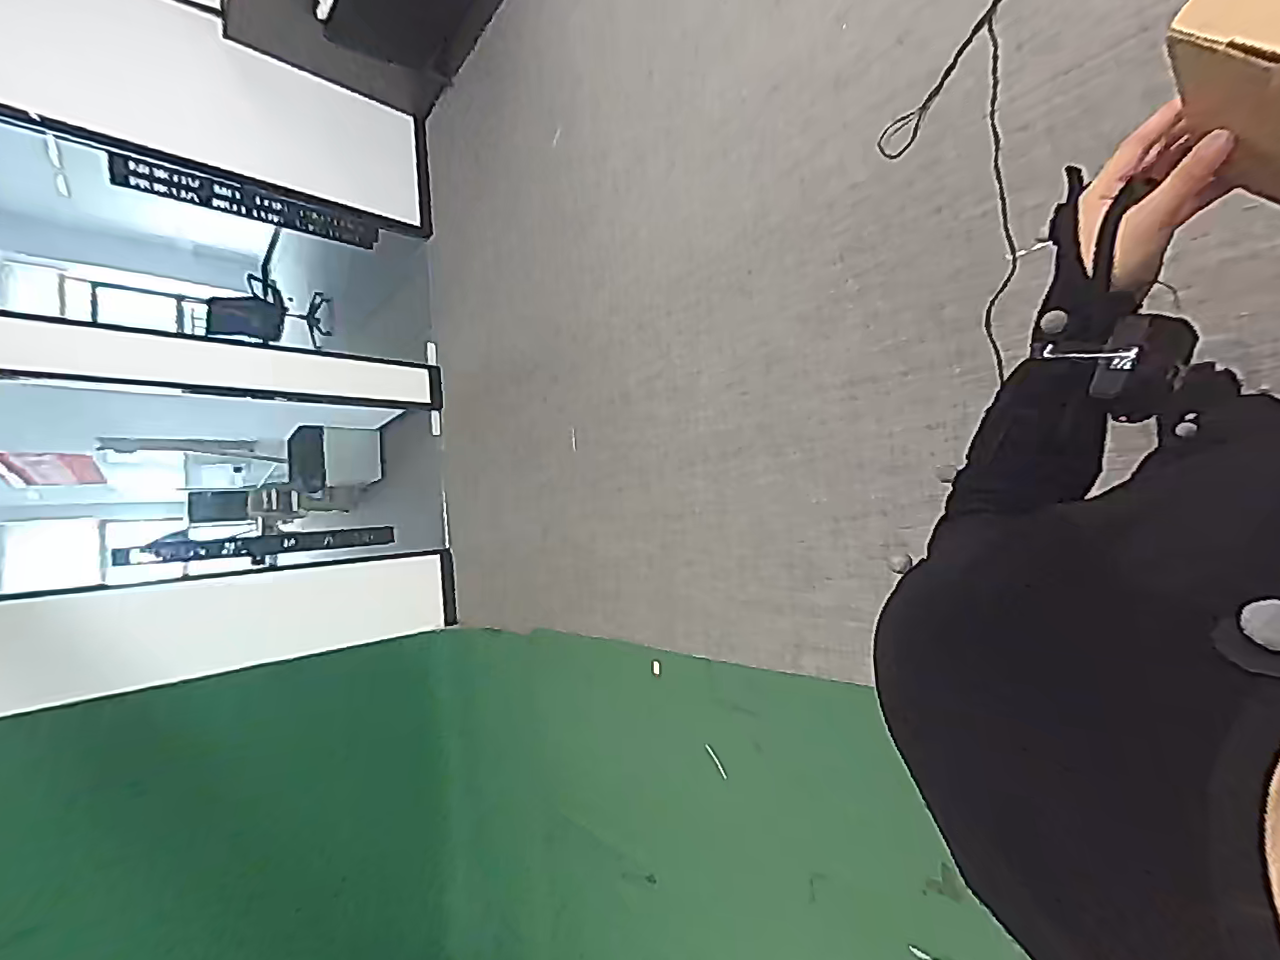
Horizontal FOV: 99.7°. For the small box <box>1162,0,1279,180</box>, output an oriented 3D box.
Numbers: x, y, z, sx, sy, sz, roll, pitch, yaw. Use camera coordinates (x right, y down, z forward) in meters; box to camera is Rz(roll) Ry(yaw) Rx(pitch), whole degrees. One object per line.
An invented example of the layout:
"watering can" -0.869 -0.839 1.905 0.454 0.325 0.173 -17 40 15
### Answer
"small box" 0.404 -0.228 0.236 0.179 0.176 0.168 -55 48 33
